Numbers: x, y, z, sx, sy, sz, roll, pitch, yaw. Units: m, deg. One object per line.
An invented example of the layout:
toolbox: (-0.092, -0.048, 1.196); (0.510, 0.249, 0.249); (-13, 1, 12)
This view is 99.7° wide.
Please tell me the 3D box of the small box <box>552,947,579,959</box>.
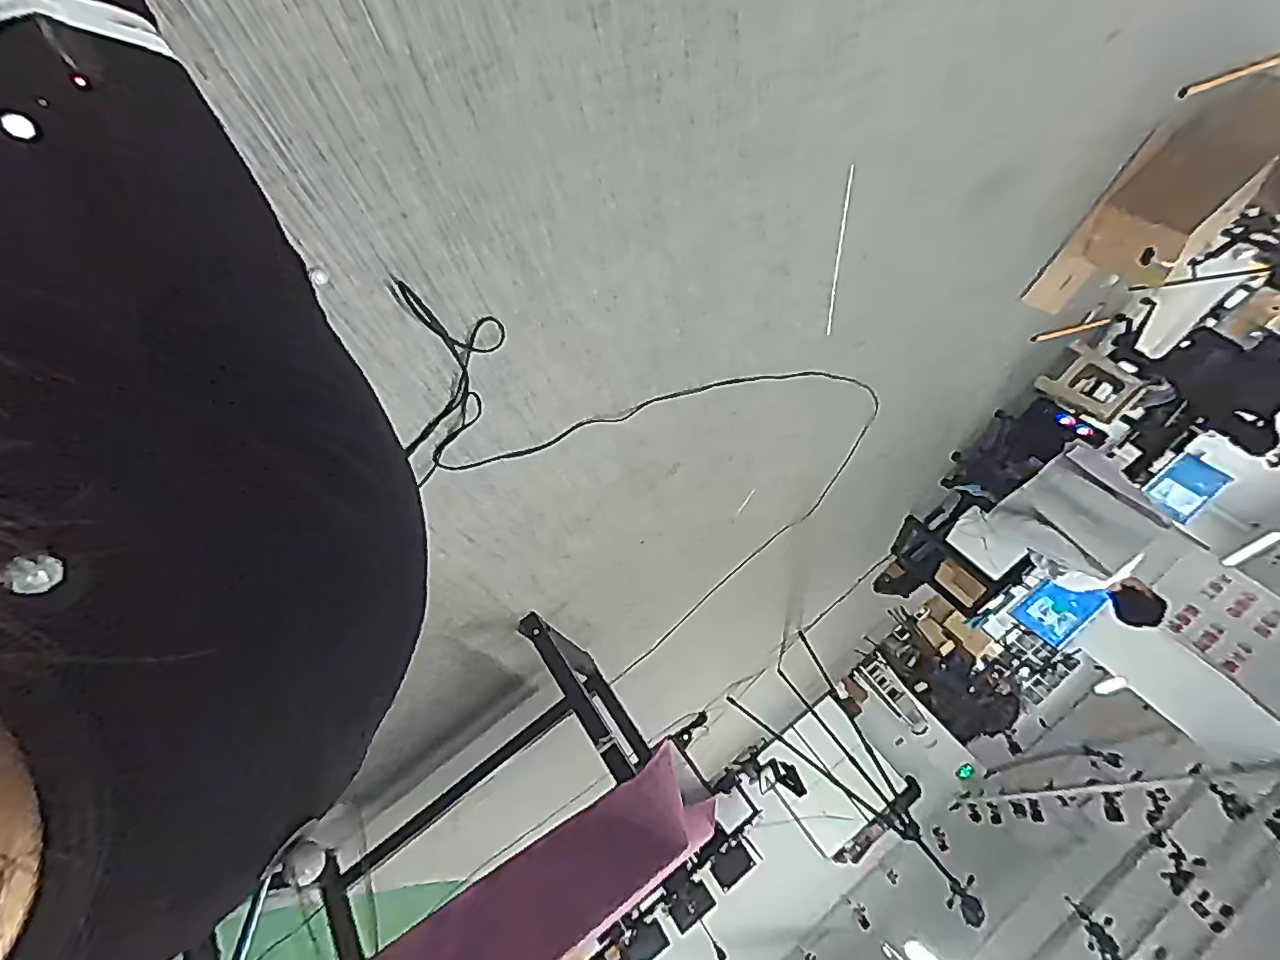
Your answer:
small box: (-0.203, 1.243, 1.254); (0.179, 0.176, 0.168); (-34, 149, -11)
